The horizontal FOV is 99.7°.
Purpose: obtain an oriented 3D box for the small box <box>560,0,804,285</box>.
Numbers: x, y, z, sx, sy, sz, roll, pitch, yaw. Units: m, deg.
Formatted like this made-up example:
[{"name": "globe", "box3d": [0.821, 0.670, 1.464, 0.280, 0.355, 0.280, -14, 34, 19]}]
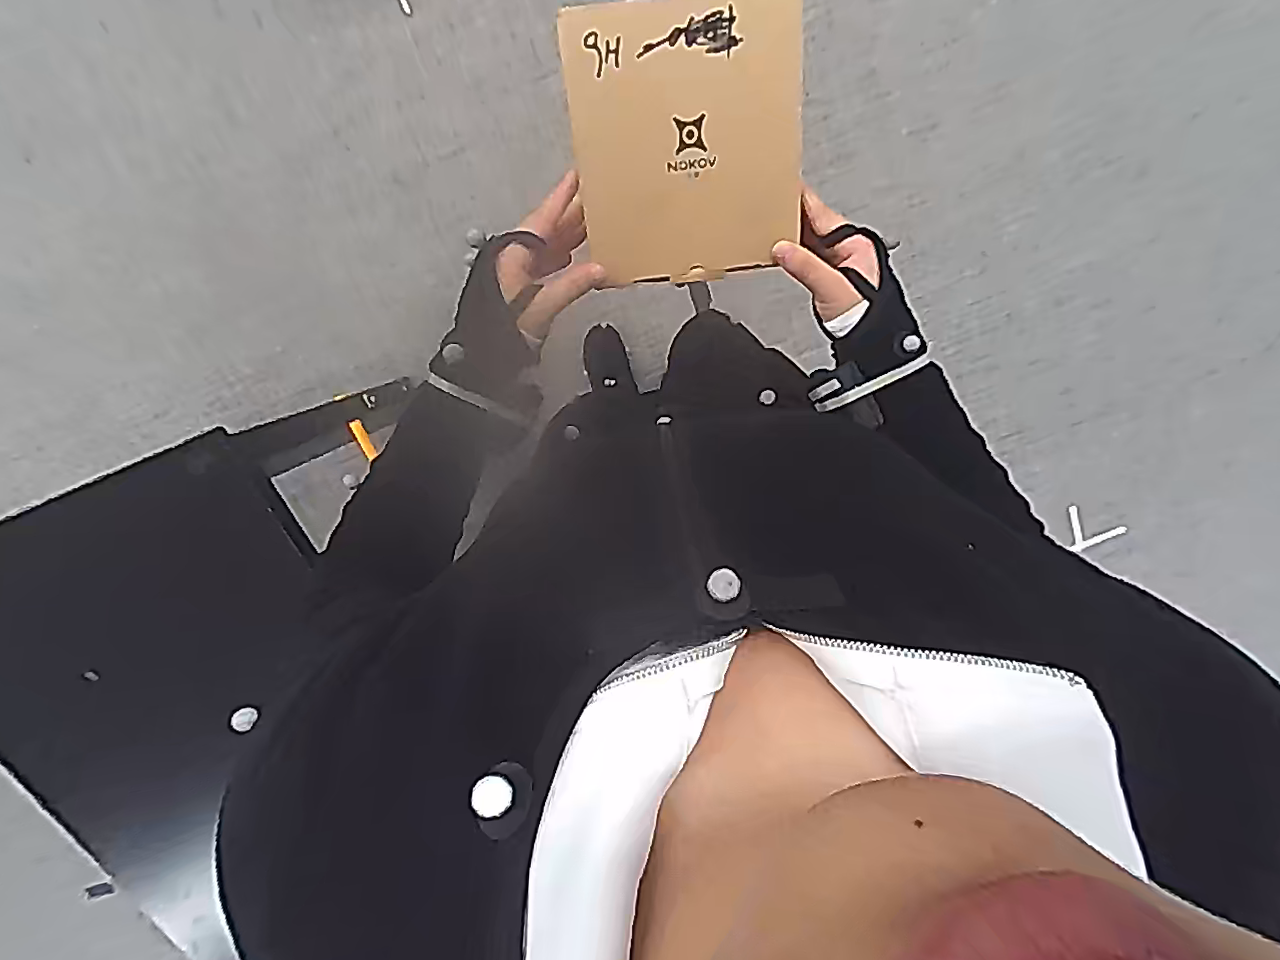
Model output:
[{"name": "small box", "box3d": [0.029, -0.279, 0.465, 0.168, 0.176, 0.179, -8, 118, -2]}]
